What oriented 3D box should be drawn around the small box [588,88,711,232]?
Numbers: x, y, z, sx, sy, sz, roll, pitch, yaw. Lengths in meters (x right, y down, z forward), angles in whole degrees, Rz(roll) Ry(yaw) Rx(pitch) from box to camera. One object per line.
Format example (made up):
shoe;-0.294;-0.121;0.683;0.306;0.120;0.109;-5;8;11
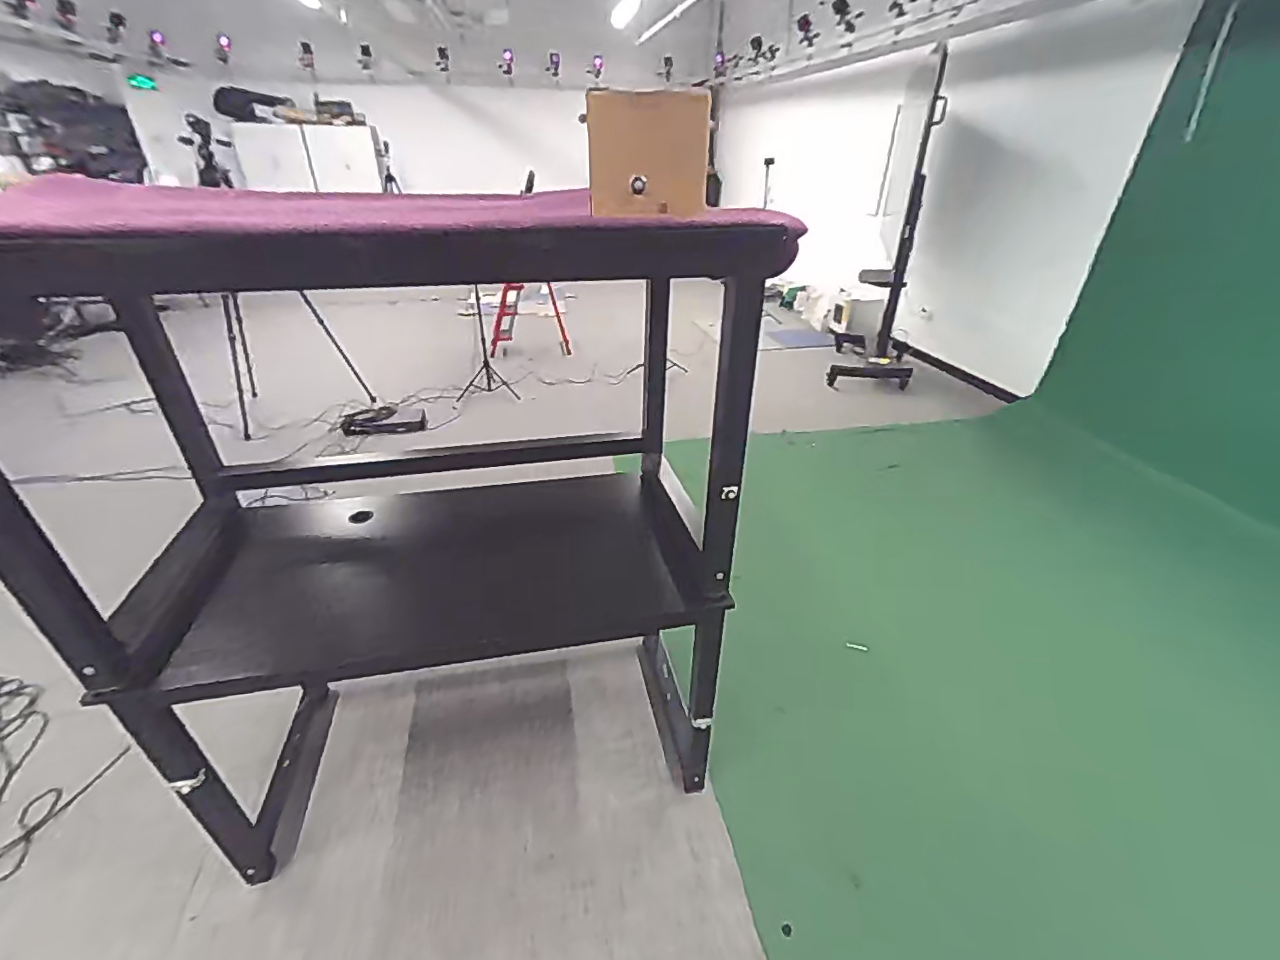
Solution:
small box;0.009;-0.481;0.818;0.168;0.176;0.179;-1;33;-2
